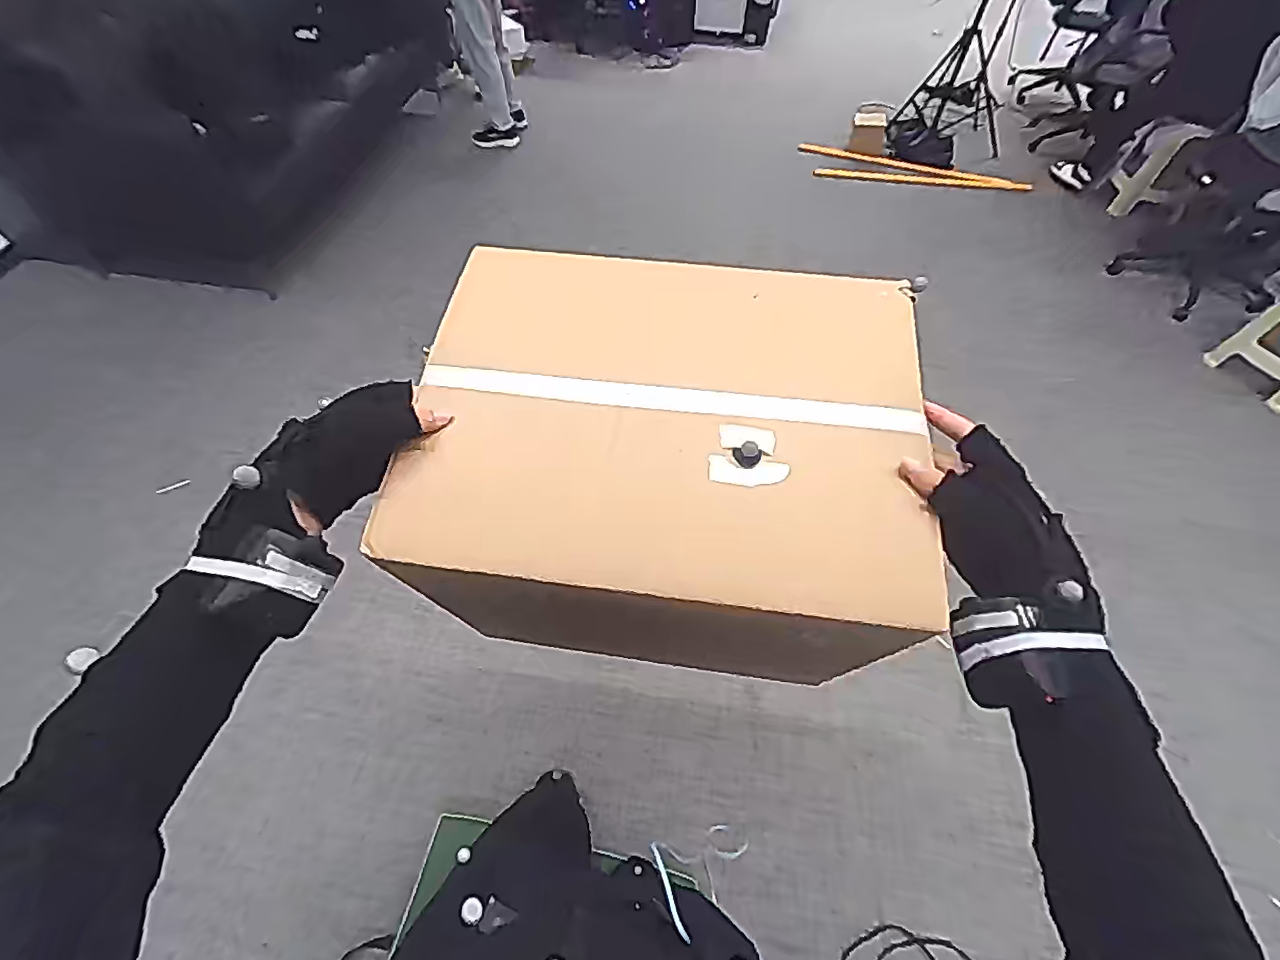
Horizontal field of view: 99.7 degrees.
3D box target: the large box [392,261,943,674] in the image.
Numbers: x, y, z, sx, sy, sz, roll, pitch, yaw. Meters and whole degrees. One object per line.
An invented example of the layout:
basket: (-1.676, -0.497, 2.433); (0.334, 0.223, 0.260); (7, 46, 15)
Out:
large box: (0.030, 0.007, 0.581); (0.408, 0.320, 0.320); (7, 64, 4)
